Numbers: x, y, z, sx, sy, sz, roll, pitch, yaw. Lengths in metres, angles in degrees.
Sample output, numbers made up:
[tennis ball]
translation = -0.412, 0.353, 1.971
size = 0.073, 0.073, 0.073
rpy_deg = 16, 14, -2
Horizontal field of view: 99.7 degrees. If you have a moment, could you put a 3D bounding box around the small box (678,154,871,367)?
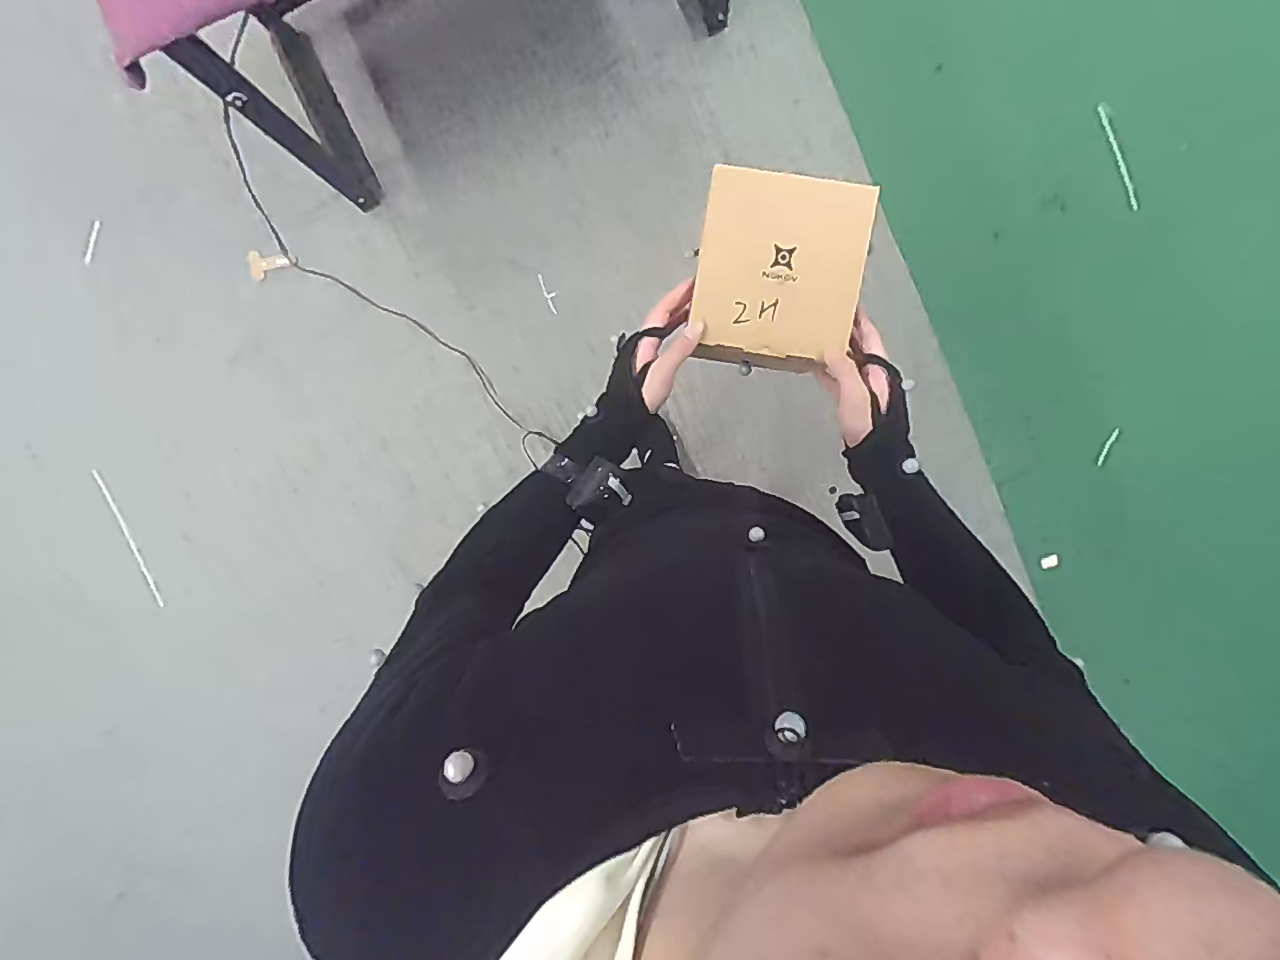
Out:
[small box]
translation = 0.136, -0.232, 0.617
size = 0.168, 0.176, 0.179
rpy_deg = 9, 98, 2
